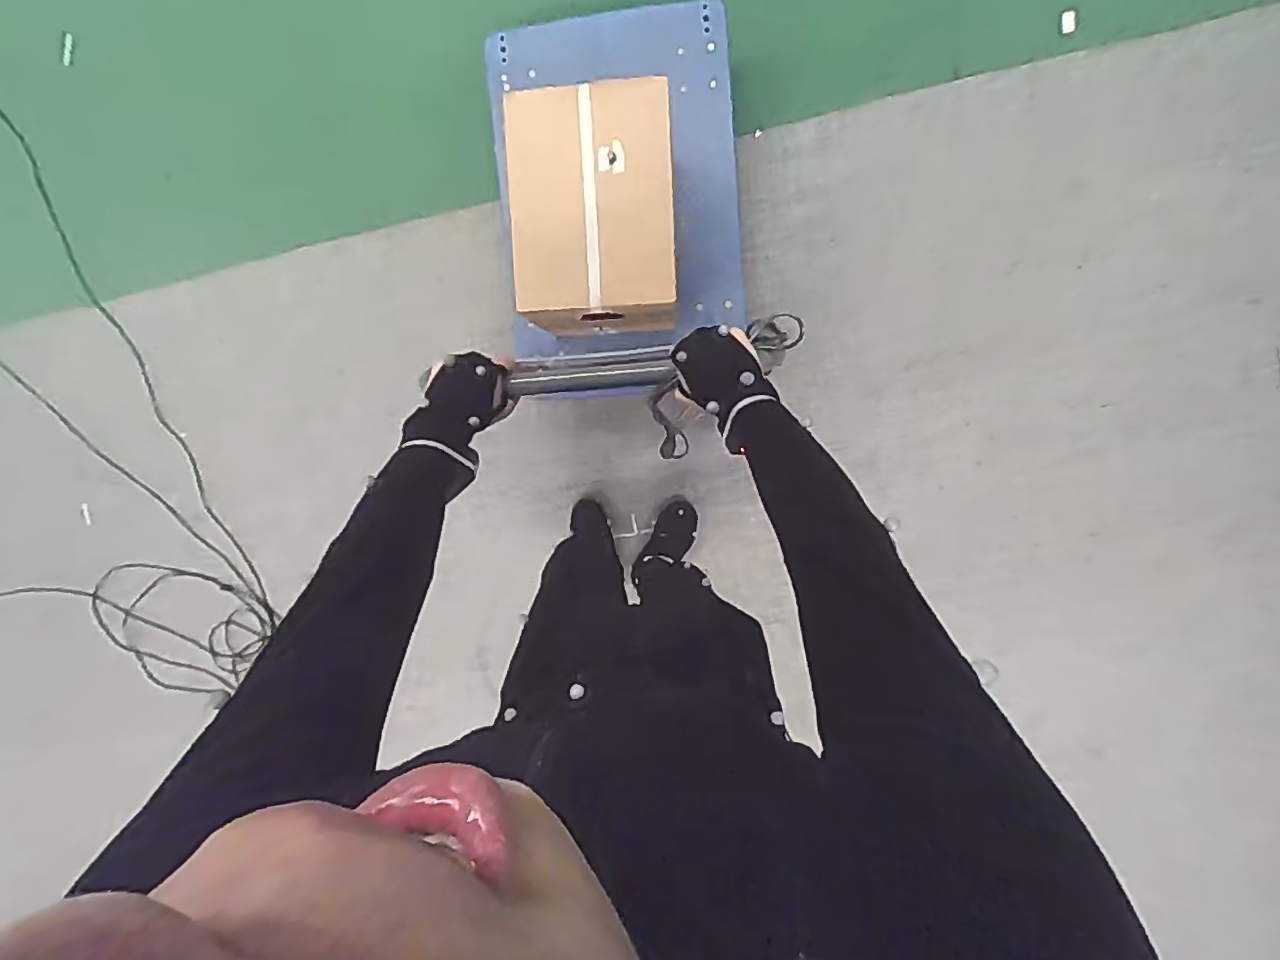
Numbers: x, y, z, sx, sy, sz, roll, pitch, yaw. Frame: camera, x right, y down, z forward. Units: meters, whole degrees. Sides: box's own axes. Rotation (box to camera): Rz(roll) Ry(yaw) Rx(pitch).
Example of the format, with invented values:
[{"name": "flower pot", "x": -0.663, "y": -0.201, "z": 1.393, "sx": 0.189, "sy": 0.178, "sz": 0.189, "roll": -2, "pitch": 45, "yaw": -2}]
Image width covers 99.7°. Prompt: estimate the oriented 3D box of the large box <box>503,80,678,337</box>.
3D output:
[{"name": "large box", "x": -0.083, "y": -0.546, "z": 1.172, "sx": 0.320, "sy": 0.320, "sz": 0.408, "roll": -2, "pitch": 96, "yaw": 4}]
